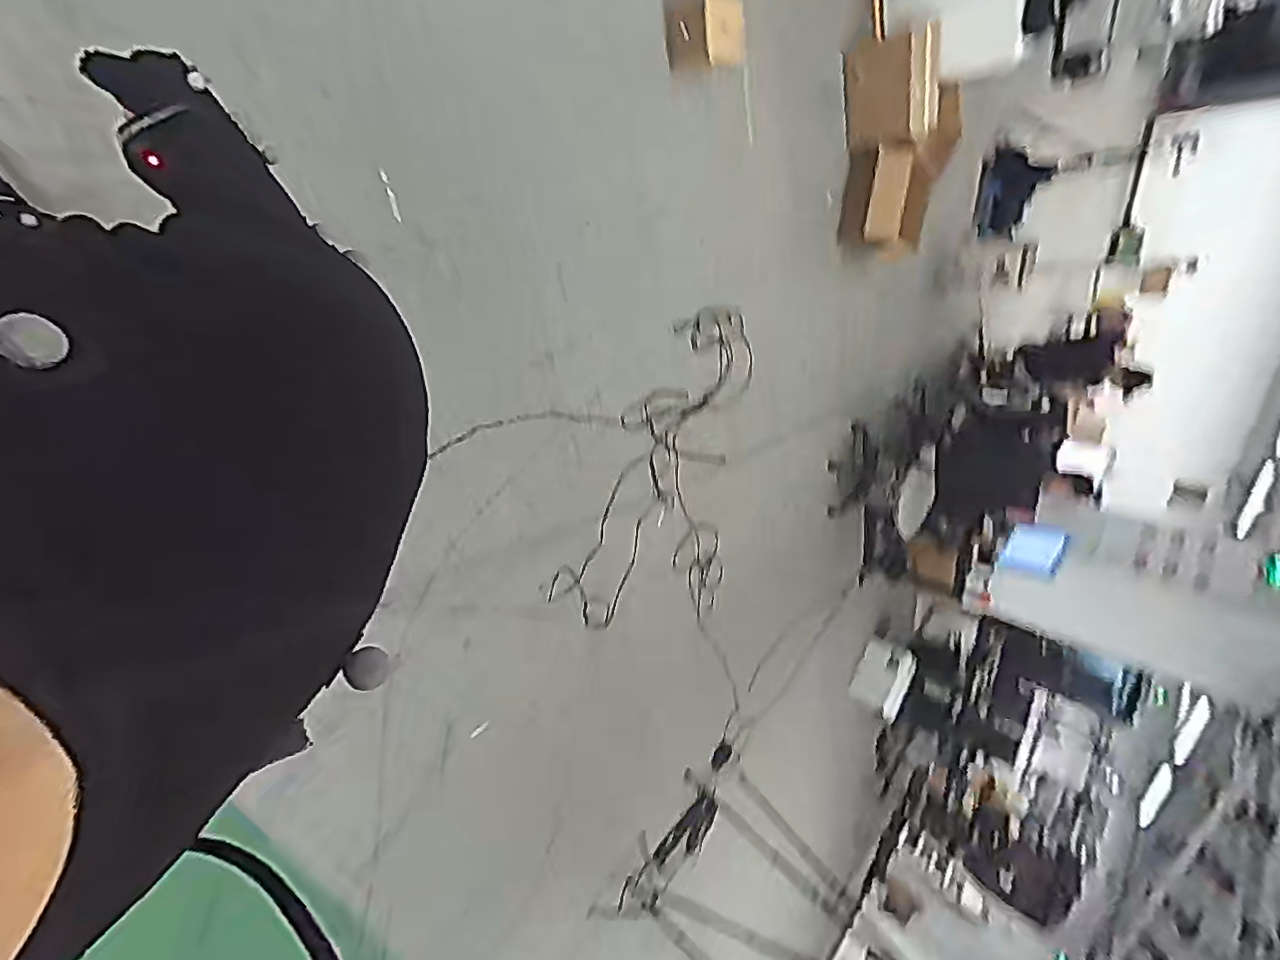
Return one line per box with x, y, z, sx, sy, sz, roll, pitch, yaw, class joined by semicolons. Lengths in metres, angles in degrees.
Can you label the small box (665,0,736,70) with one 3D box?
0.196;-1.475;1.780;0.179;0.176;0.168;-29;124;-37;small box
